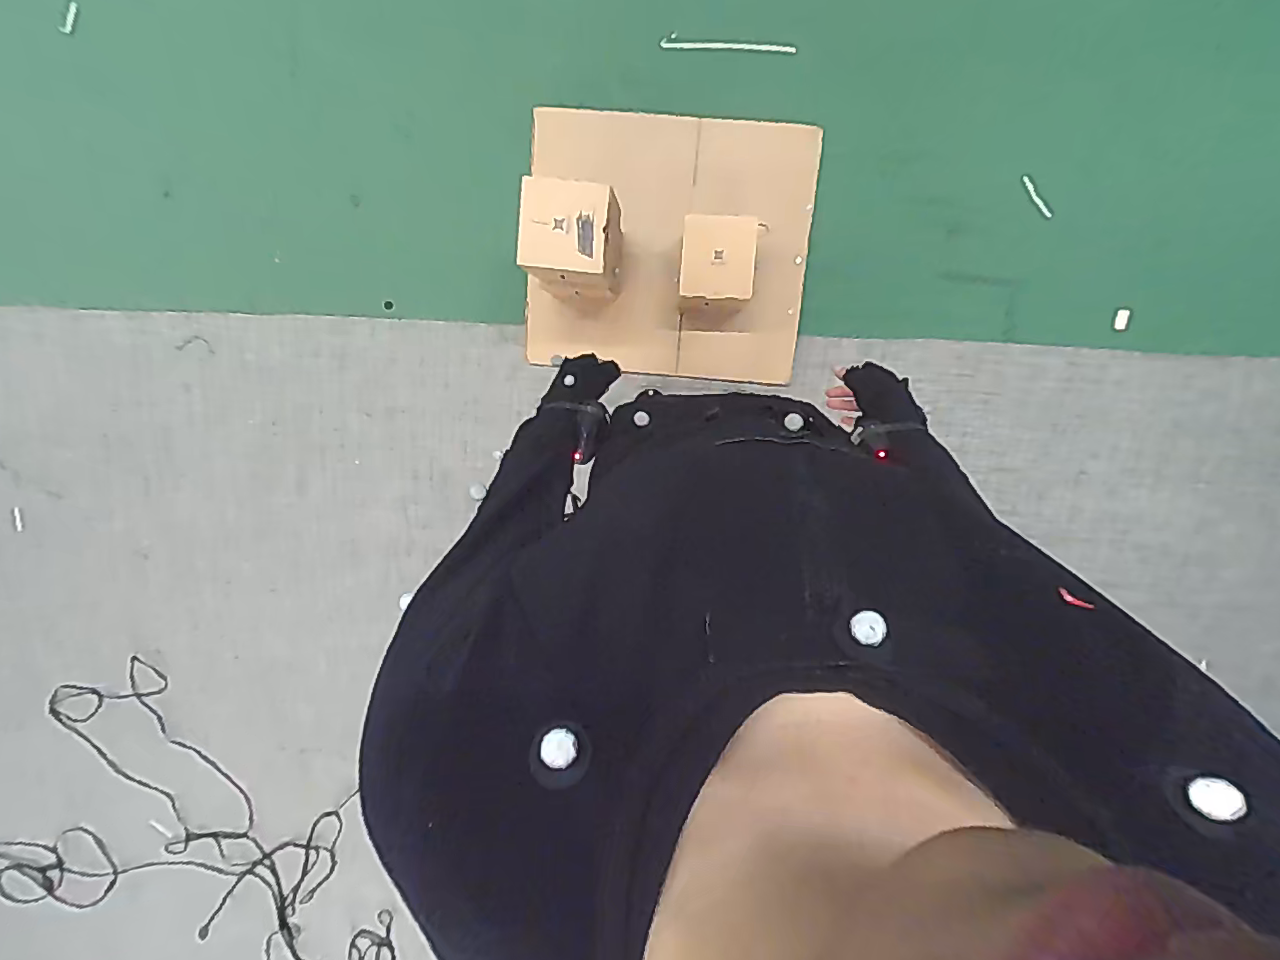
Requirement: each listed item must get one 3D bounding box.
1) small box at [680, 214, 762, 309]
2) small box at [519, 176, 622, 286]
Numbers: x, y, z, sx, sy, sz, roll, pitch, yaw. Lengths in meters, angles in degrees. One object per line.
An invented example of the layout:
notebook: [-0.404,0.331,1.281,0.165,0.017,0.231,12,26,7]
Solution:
small box: [0.183,-0.507,1.273,0.168,0.176,0.179,3,102,3]
small box: [-0.136,-0.505,1.121,0.179,0.176,0.168,8,101,4]
